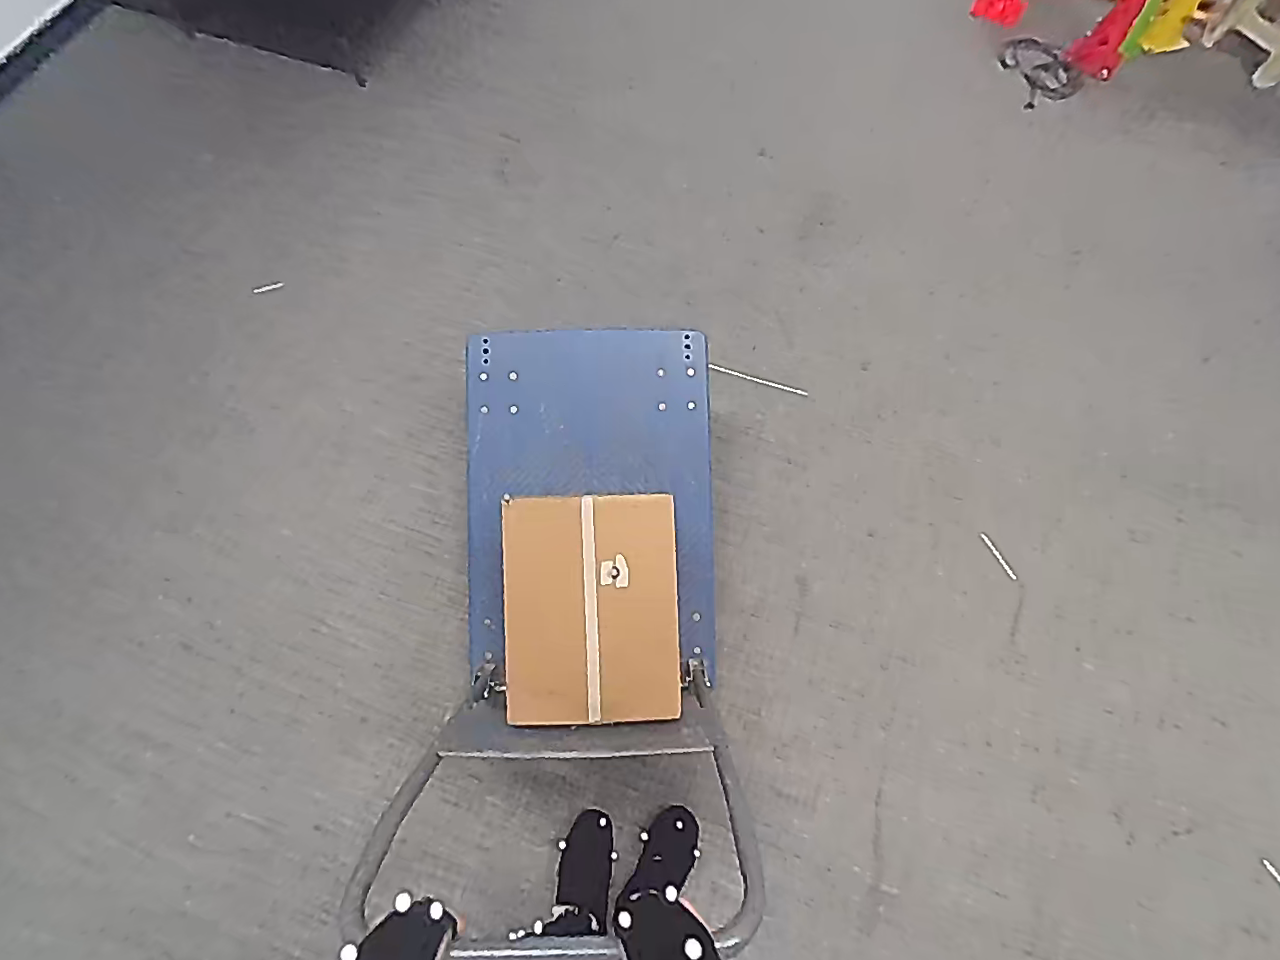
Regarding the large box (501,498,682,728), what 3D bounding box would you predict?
[{"bbox_3d":[-0.090,0.248,1.127,0.320,0.320,0.408,-3,87,-1],"label":"large box"}]
